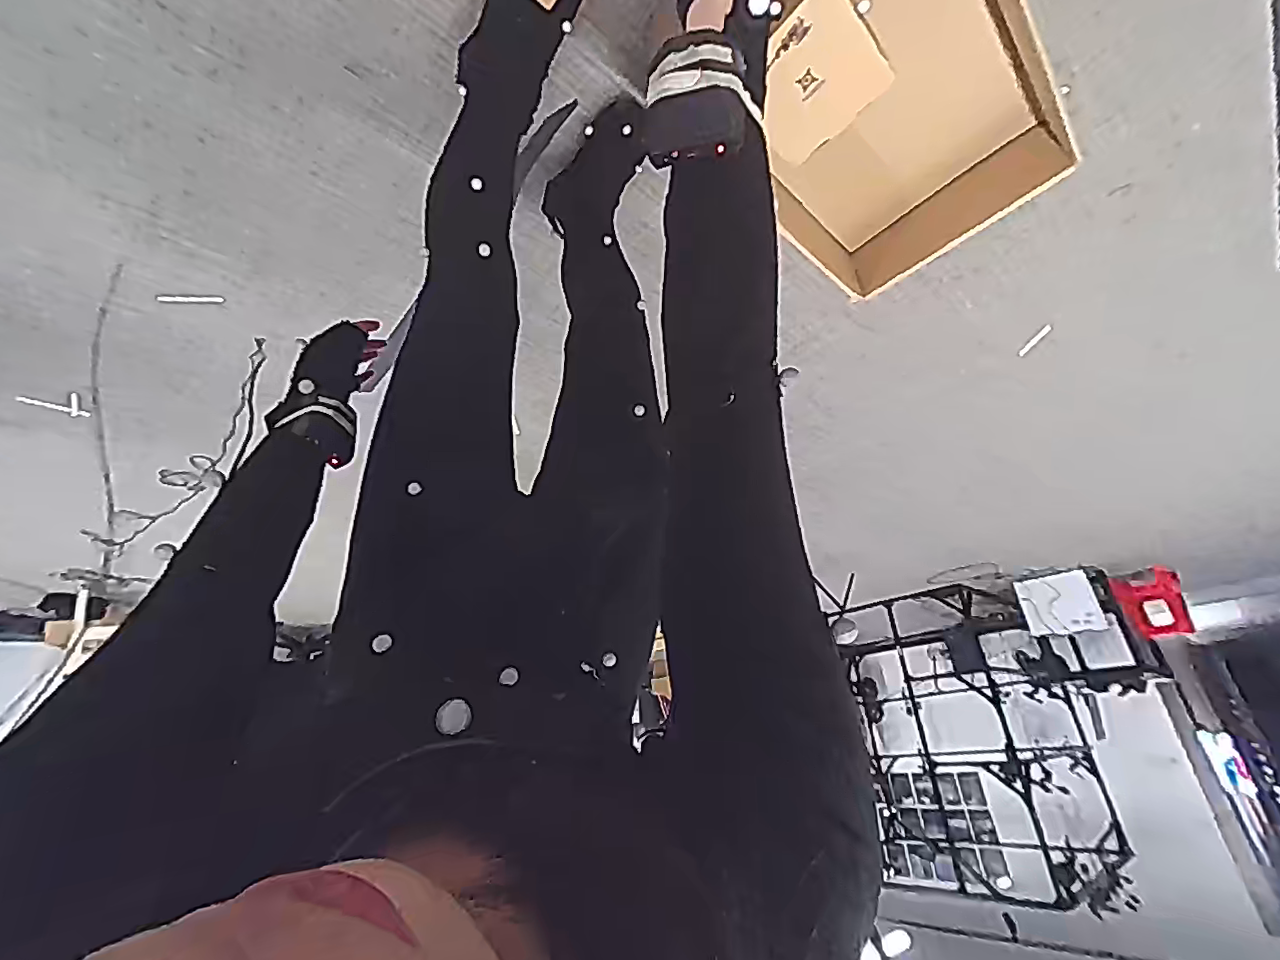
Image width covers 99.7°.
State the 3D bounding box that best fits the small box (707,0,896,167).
[{"bbox_3d":[0.215,-0.591,0.741,0.179,0.176,0.168,17,145,-40],"label":"small box"}]
